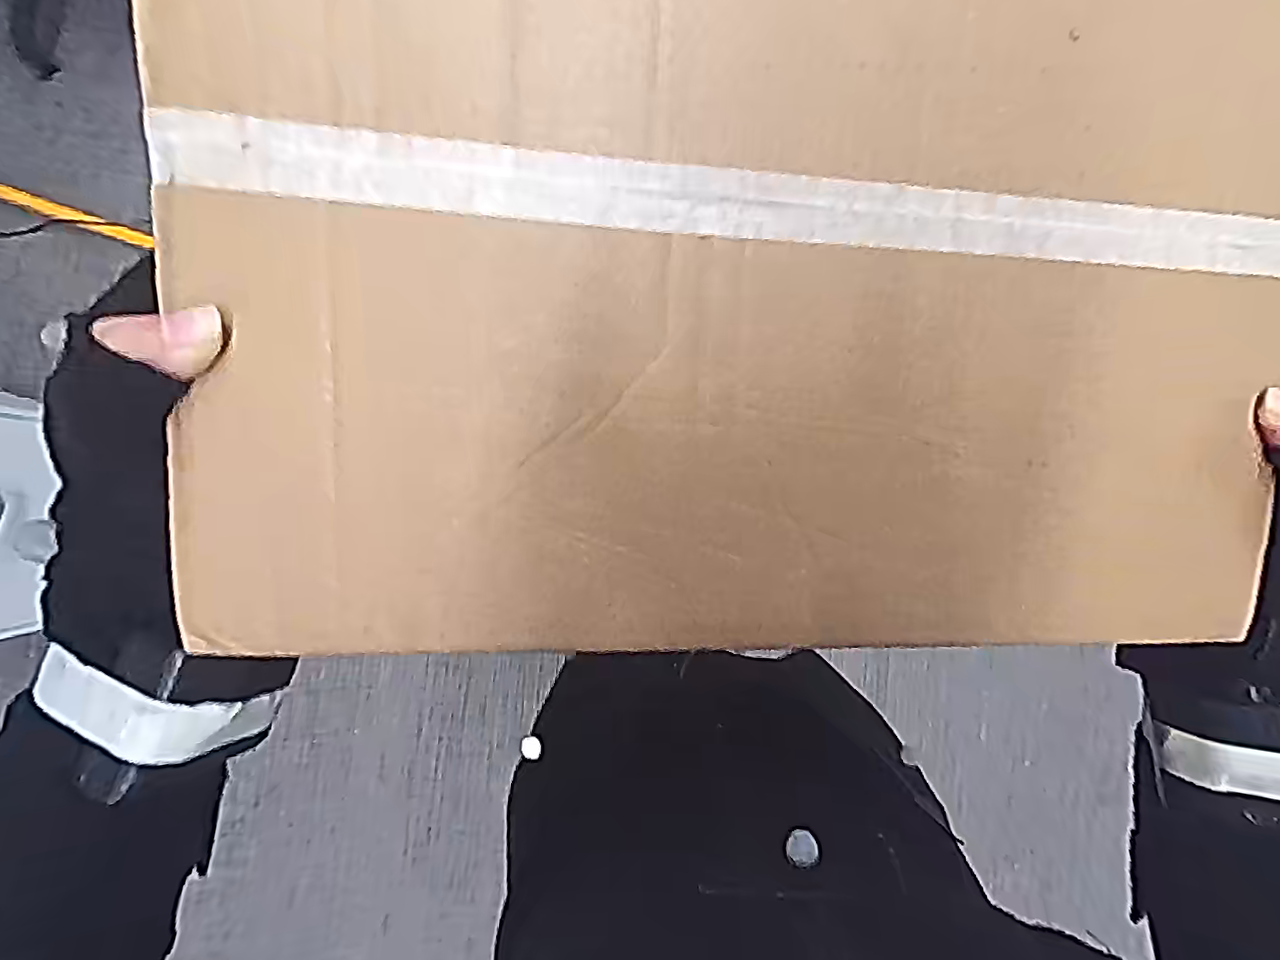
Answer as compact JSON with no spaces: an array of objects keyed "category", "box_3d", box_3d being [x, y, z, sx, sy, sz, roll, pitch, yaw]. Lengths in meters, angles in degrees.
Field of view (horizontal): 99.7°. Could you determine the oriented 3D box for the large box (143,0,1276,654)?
[{"category":"large box","box_3d":[0.028,-0.111,0.343,0.408,0.320,0.320,0,96,-7]}]
